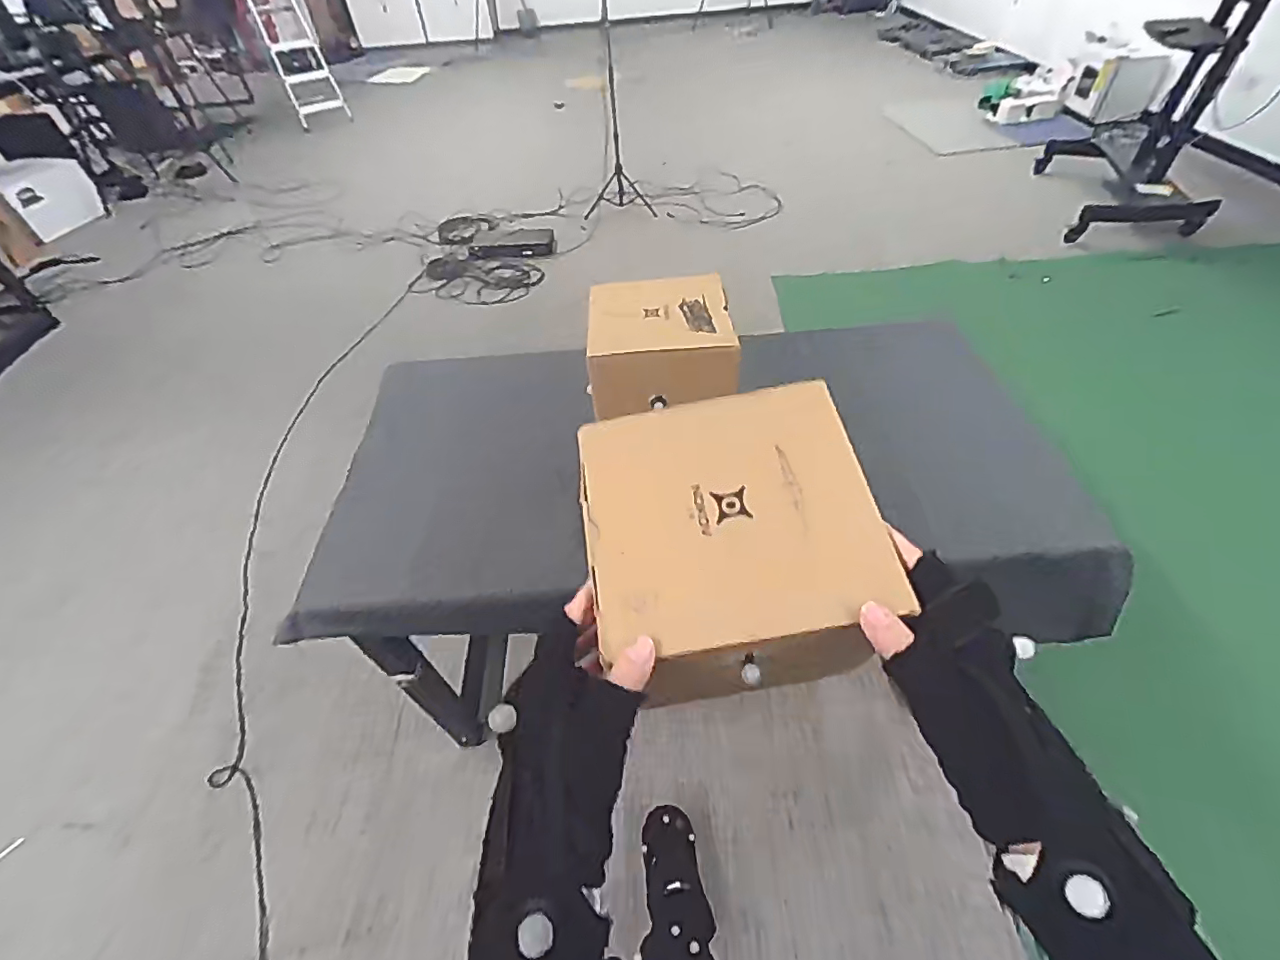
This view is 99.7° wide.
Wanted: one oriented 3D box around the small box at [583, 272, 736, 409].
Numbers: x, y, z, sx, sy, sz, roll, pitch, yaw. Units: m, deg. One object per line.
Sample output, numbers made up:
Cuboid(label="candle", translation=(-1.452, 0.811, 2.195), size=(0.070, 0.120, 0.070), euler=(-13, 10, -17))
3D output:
Cuboid(label="small box", translation=(0.025, -0.151, 0.718), size=(0.179, 0.176, 0.168), euler=(-5, 48, 2))

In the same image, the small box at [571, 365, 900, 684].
Cuboid(label="small box", translation=(0.058, 0.045, 0.406), size=(0.179, 0.176, 0.168), euler=(-11, 60, 2))
